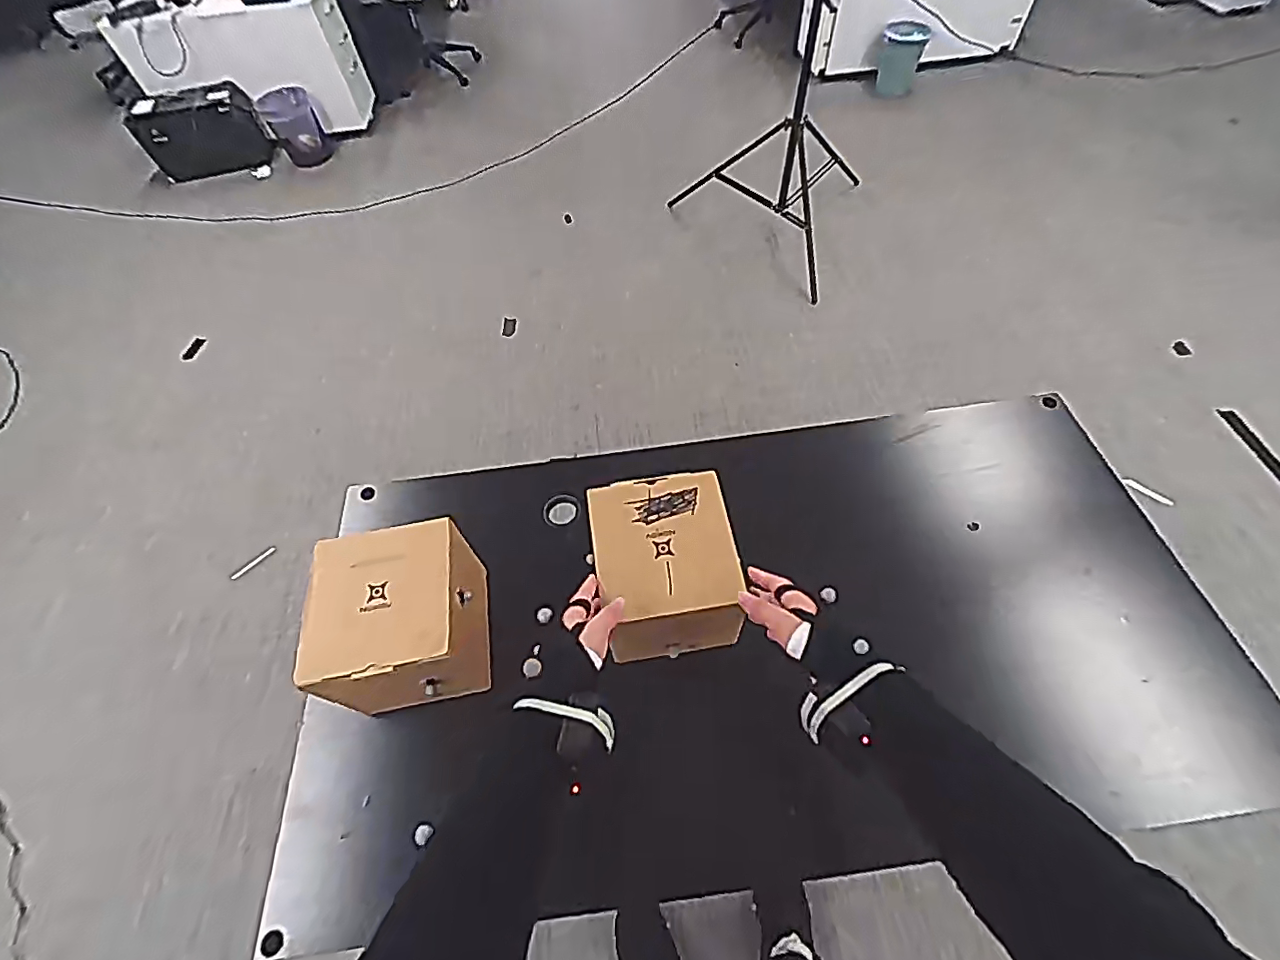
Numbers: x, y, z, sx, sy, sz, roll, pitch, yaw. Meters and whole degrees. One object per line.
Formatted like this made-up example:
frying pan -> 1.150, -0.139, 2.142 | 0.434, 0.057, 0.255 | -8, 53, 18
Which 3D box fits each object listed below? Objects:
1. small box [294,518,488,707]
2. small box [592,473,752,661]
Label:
small box -> -0.293, 0.174, 0.678 | 0.168, 0.176, 0.179 | -10, 57, -5
small box -> 0.033, 0.116, 0.694 | 0.168, 0.176, 0.179 | -9, 58, -2
